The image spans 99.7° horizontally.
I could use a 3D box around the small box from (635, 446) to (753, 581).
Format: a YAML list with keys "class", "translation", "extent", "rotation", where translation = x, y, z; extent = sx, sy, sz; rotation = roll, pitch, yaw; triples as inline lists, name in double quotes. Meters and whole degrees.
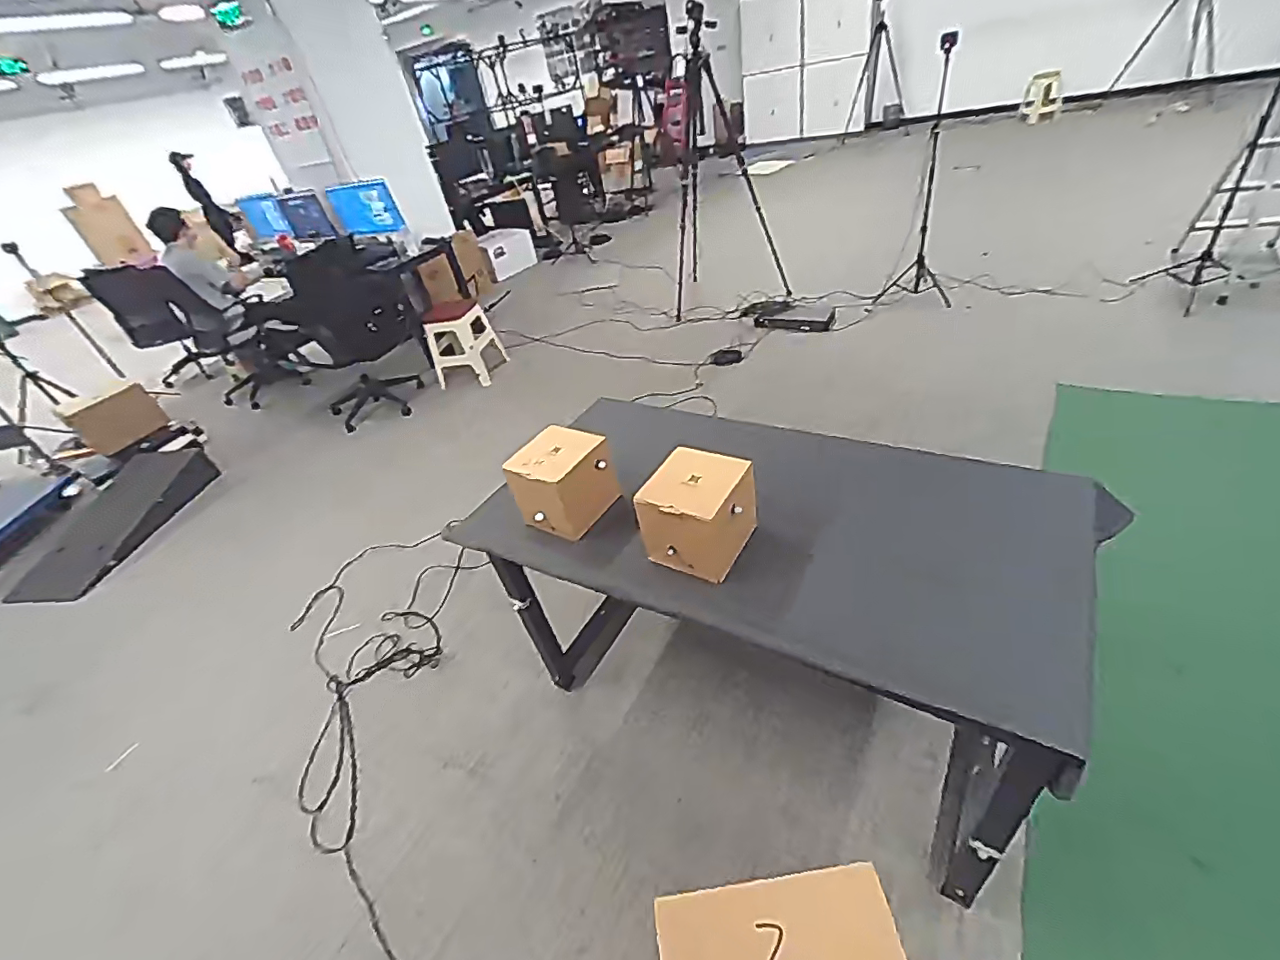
- class: "small box"
  translation: [0.112, 0.063, 1.058]
  extent: [0.168, 0.176, 0.179]
  rotation: [15, 45, 30]

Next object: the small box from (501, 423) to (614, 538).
- class: "small box"
  translation: [-0.175, -0.002, 1.213]
  extent: [0.168, 0.176, 0.179]
  rotation: [16, 45, 32]
